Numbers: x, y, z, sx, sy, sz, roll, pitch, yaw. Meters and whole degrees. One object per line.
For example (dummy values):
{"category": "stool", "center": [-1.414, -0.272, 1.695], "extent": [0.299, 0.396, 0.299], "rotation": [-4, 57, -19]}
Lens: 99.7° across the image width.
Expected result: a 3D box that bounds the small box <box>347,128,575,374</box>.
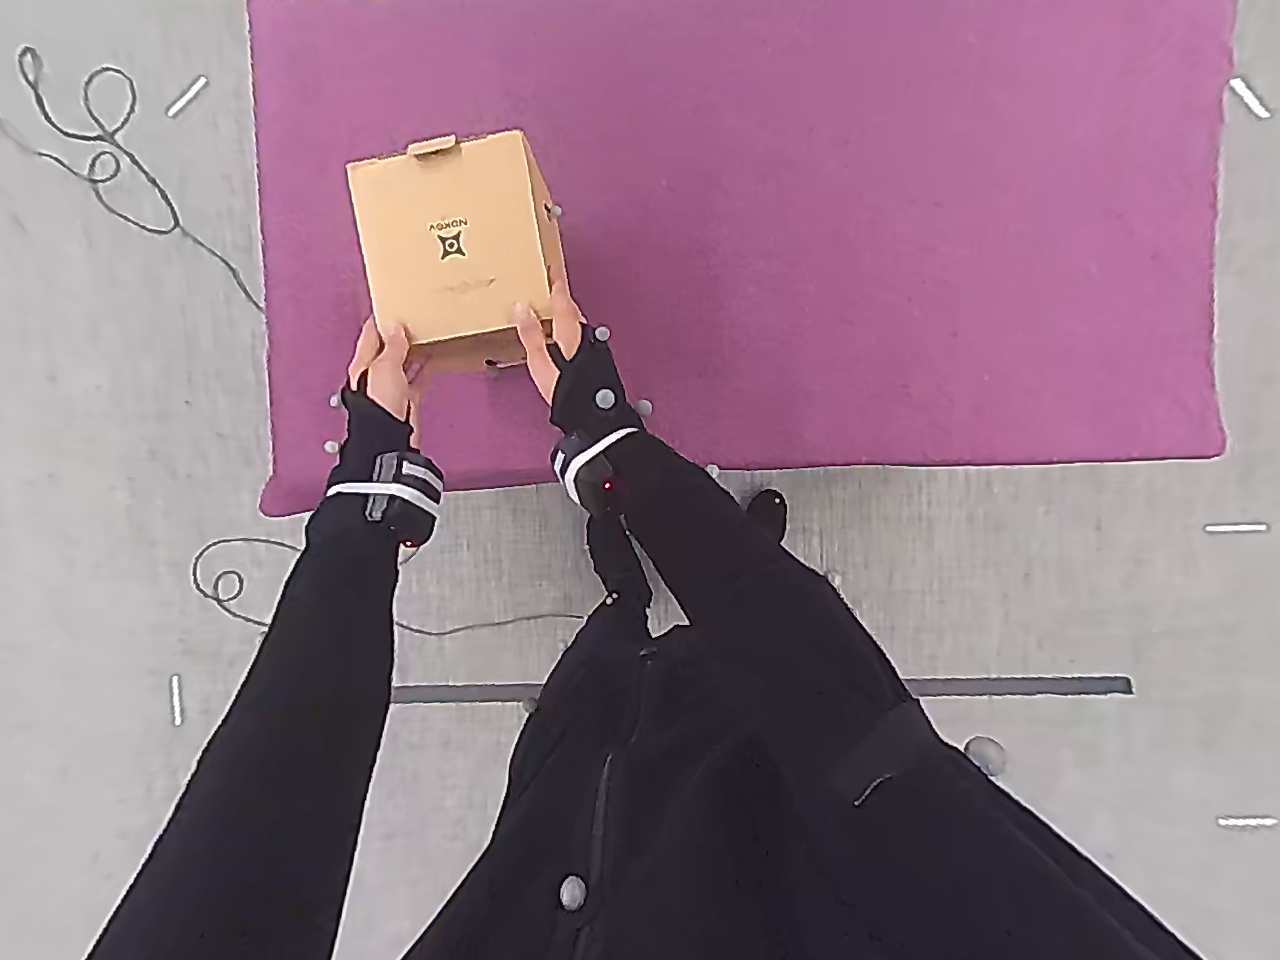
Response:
{"category": "small box", "center": [-0.170, -0.220, 0.565], "extent": [0.168, 0.176, 0.179], "rotation": [-9, 92, 2]}
